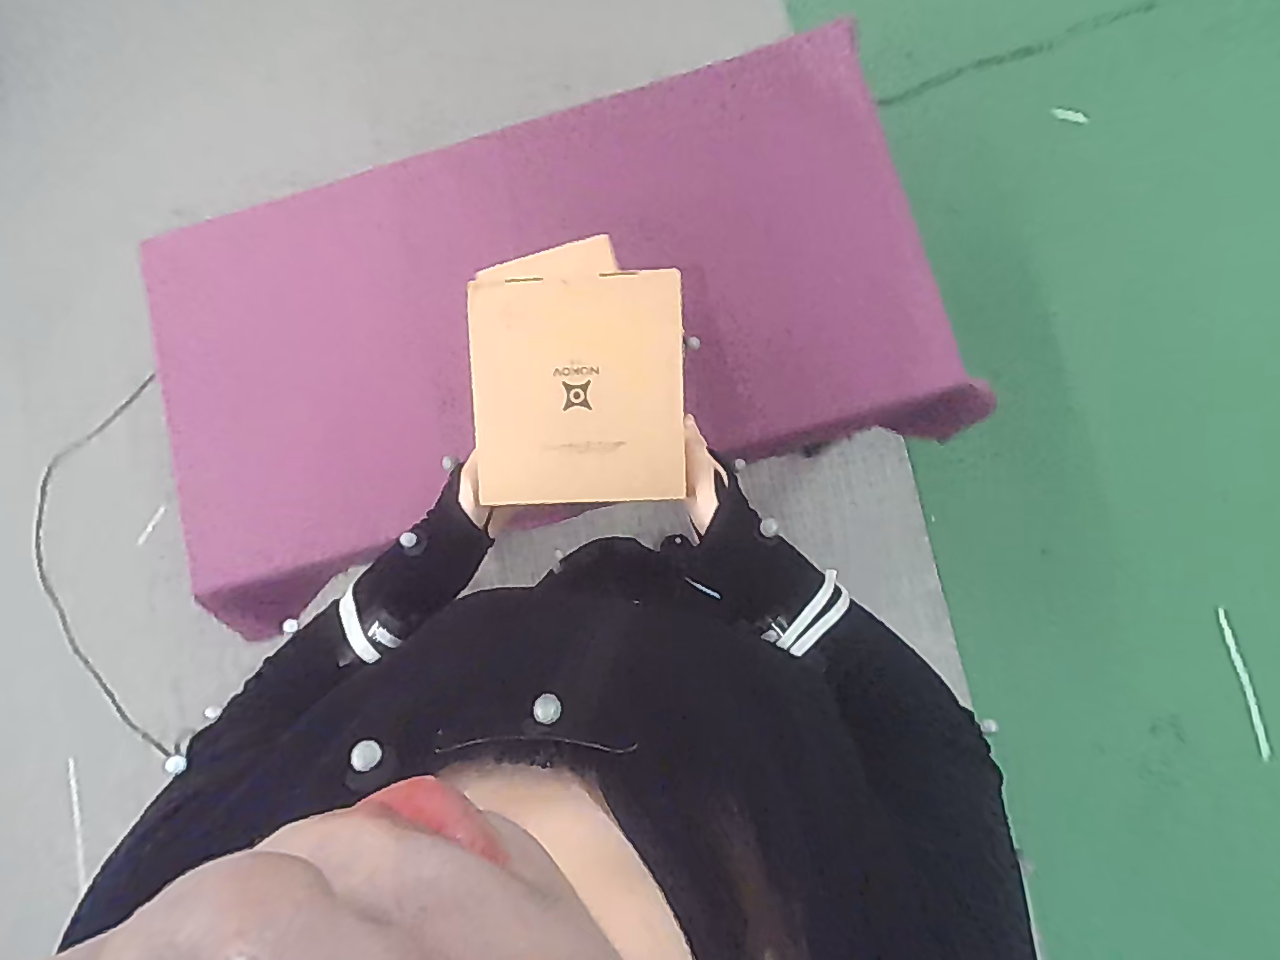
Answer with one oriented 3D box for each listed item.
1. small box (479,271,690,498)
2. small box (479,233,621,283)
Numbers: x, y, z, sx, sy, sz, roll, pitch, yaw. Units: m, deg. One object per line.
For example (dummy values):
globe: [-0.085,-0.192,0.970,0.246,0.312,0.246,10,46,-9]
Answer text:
small box: [-0.038,-0.079,0.500,0.168,0.176,0.179,0,96,5]
small box: [-0.095,-0.201,0.748,0.179,0.176,0.168,-16,83,3]
